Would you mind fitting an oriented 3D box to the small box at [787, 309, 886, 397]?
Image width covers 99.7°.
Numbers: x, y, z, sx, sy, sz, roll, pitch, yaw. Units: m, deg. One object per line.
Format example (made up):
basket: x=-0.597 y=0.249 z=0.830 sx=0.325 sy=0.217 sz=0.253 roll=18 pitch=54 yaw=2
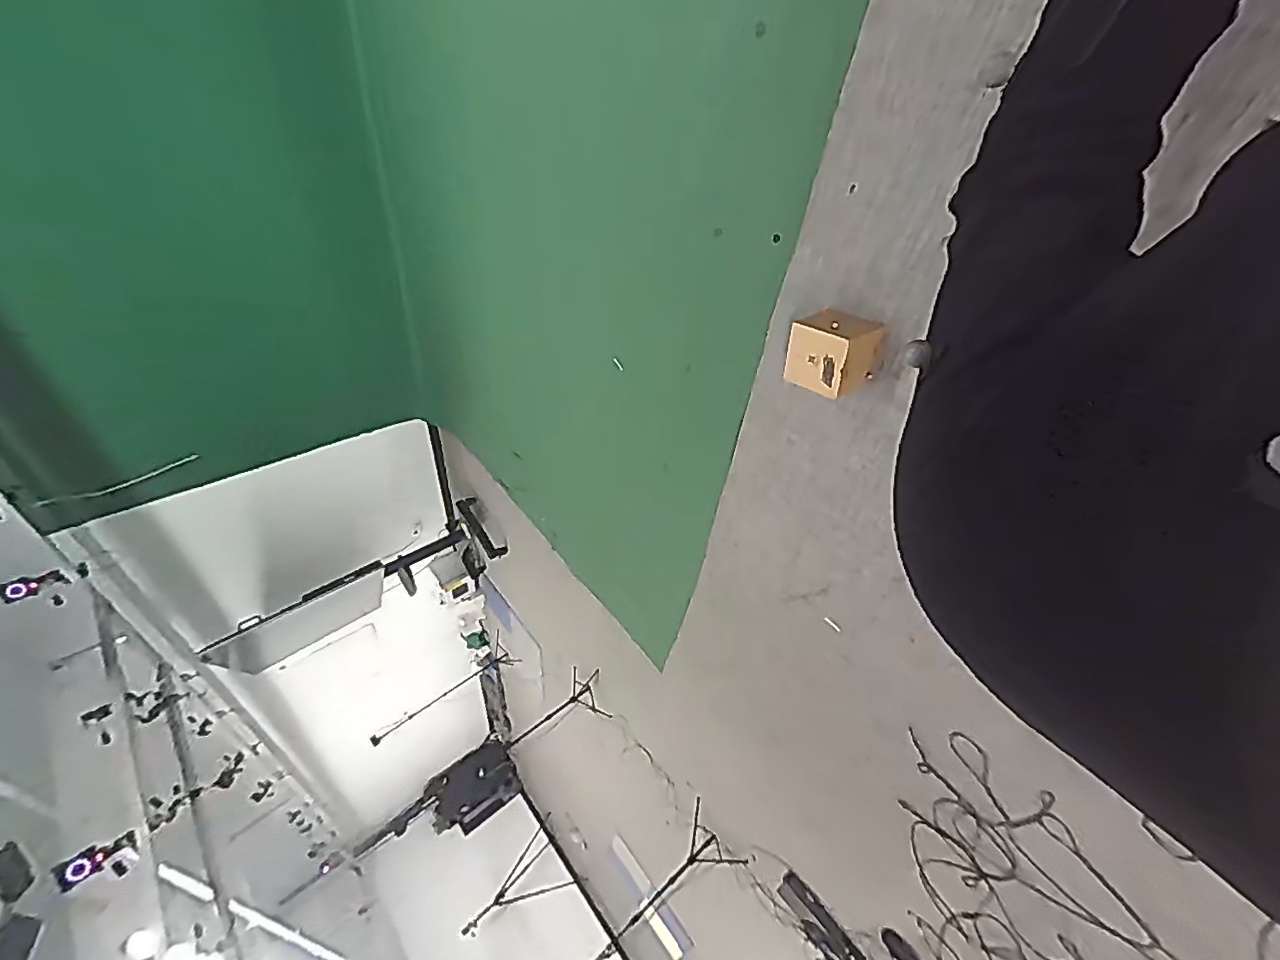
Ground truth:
small box: x=0.528 y=-0.348 z=1.453 sx=0.179 sy=0.176 sz=0.168 roll=36 pitch=138 yaw=39
